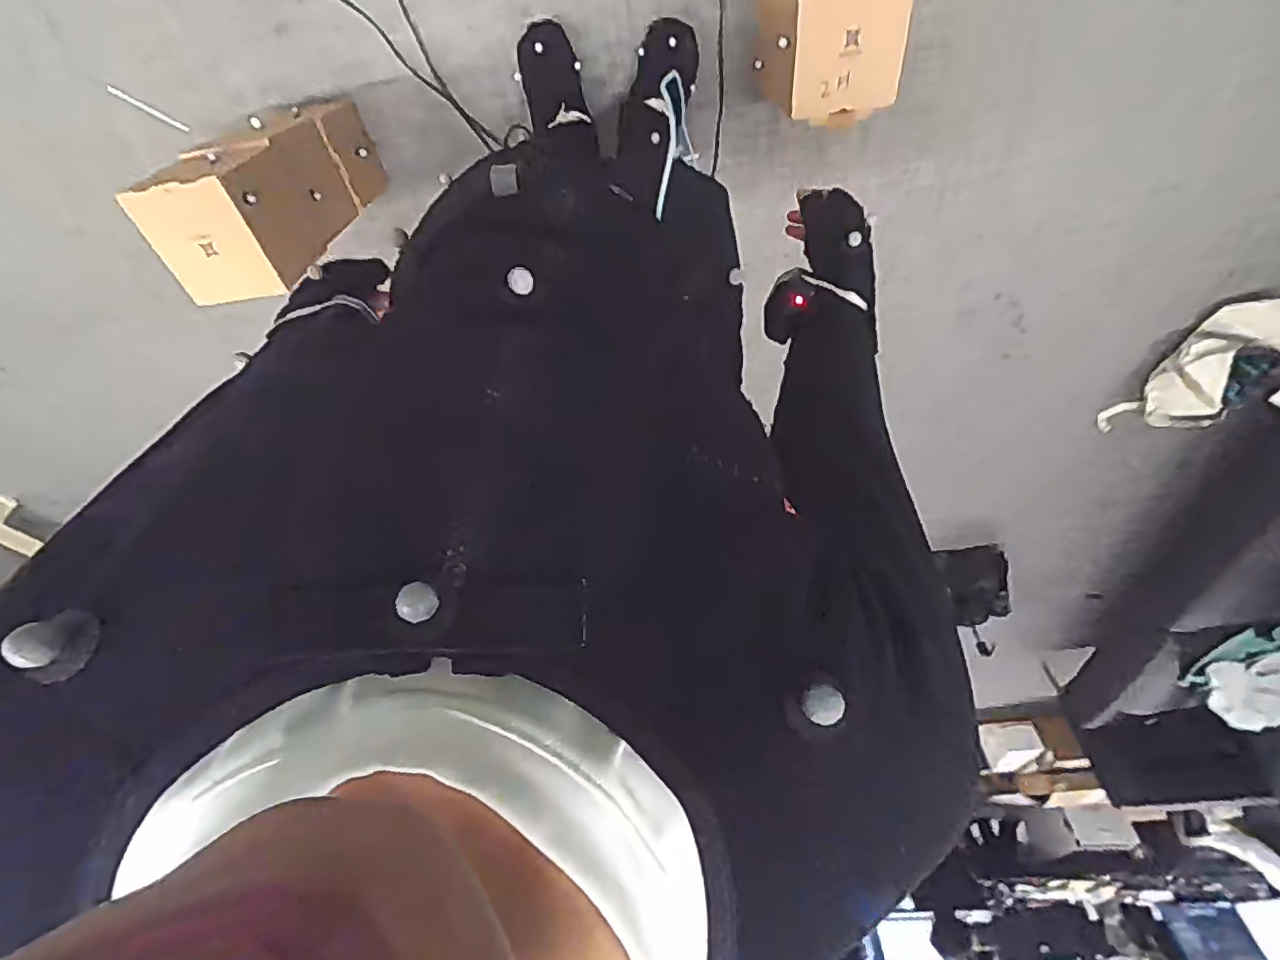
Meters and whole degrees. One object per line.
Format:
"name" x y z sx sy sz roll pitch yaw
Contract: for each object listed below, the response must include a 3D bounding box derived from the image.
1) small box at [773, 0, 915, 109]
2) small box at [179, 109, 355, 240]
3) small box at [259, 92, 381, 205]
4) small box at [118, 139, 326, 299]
"small box" 0.310 -0.714 0.849 0.168 0.176 0.179 -6 137 4
"small box" -0.659 -0.546 0.985 0.168 0.176 0.179 -6 135 5
"small box" -0.654 -0.665 1.100 0.179 0.176 0.168 -7 135 6
"small box" -0.655 -0.423 0.879 0.168 0.176 0.179 -6 135 6
